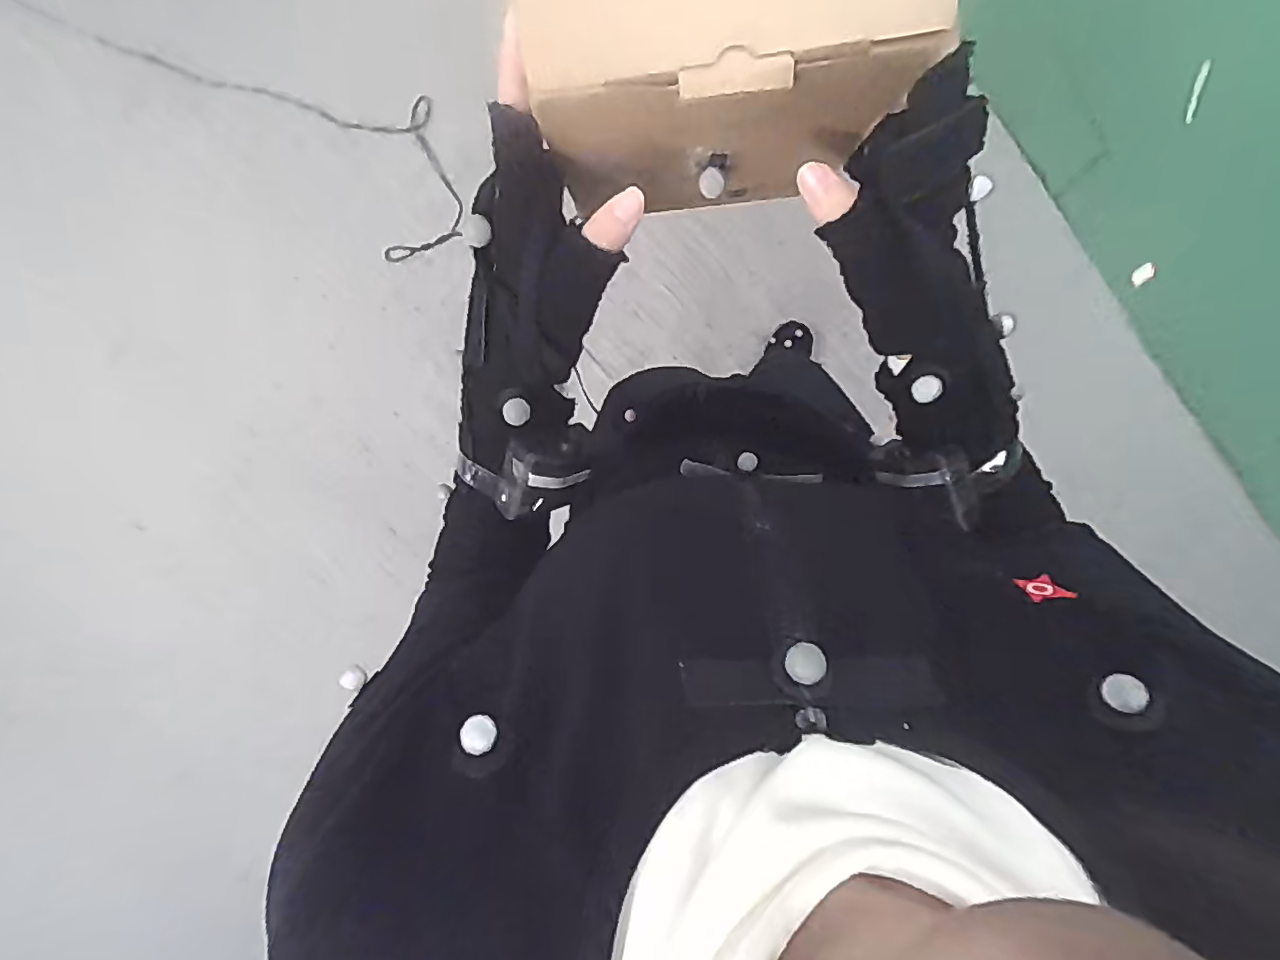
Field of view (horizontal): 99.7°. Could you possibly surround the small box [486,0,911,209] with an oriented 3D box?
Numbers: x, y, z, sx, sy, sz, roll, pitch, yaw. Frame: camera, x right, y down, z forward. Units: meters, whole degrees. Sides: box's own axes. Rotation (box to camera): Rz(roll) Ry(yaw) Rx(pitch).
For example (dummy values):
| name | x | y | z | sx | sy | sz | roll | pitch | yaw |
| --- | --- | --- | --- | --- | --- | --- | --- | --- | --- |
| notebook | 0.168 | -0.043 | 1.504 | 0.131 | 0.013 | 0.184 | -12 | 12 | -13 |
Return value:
| name | x | y | z | sx | sy | sz | roll | pitch | yaw |
| --- | --- | --- | --- | --- | --- | --- | --- | --- | --- |
| small box | 0.020 | -0.255 | 0.276 | 0.168 | 0.176 | 0.179 | -6 | 101 | 3 |
